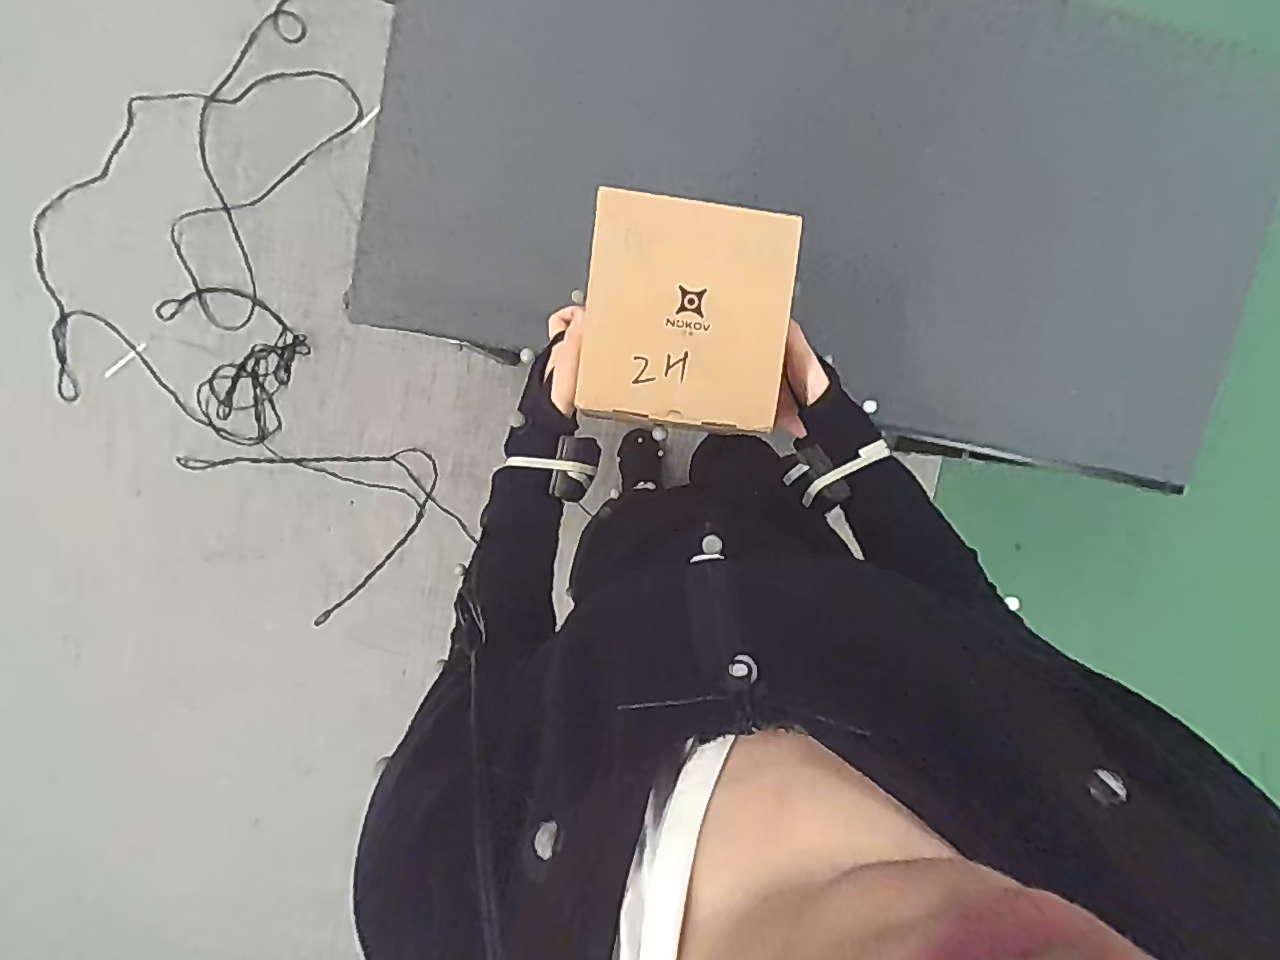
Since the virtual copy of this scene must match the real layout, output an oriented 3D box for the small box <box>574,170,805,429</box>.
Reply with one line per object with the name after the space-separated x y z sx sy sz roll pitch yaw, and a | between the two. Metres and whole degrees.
0.034 -0.146 0.502 0.168 0.176 0.179 7 93 -3 | small box
